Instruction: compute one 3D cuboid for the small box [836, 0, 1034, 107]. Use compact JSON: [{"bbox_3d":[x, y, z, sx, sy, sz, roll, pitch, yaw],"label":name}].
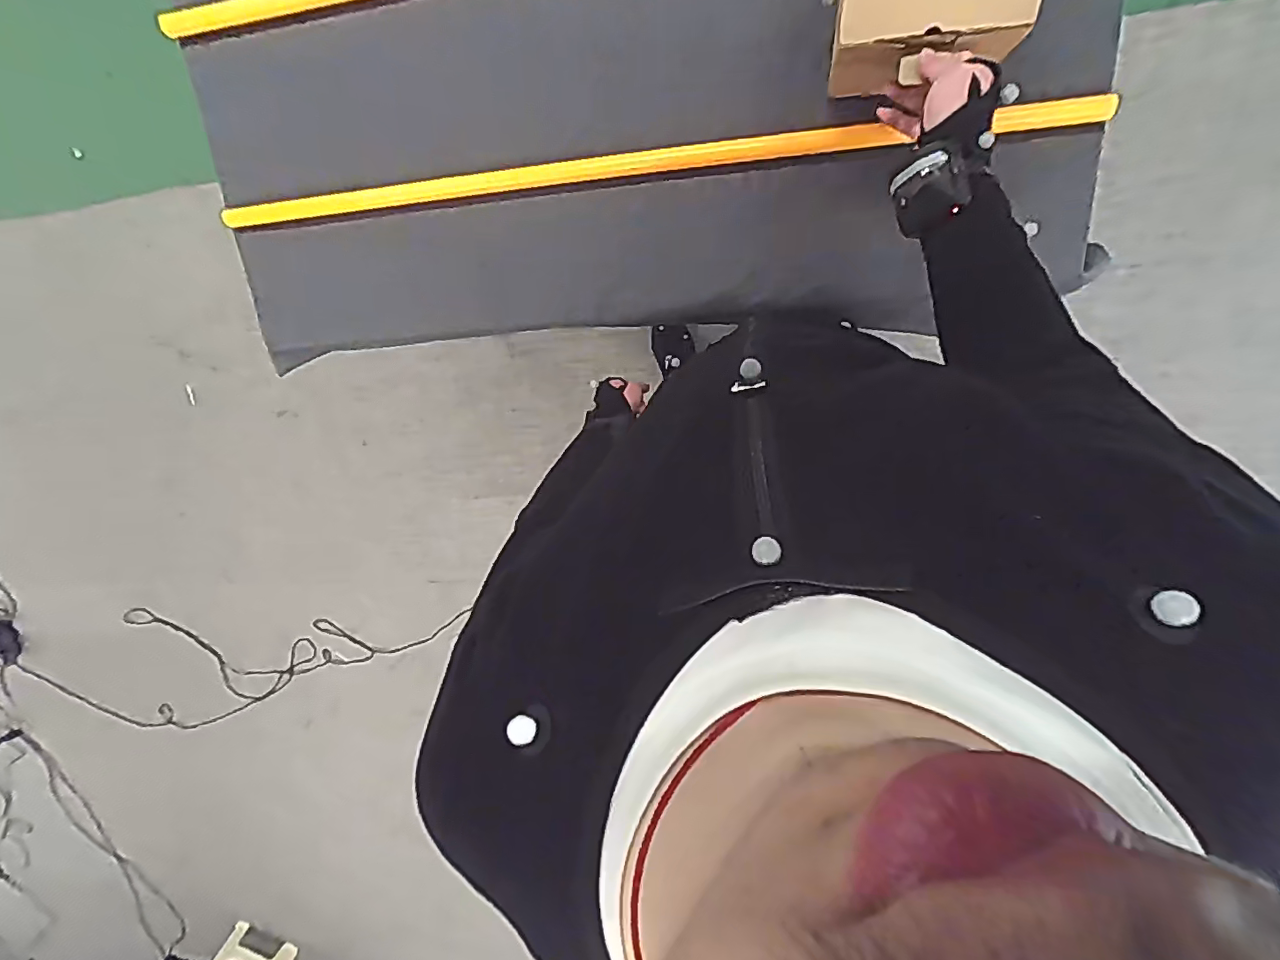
[{"bbox_3d":[0.297,-0.509,0.554,0.168,0.176,0.179,4,110,18],"label":"small box"}]
